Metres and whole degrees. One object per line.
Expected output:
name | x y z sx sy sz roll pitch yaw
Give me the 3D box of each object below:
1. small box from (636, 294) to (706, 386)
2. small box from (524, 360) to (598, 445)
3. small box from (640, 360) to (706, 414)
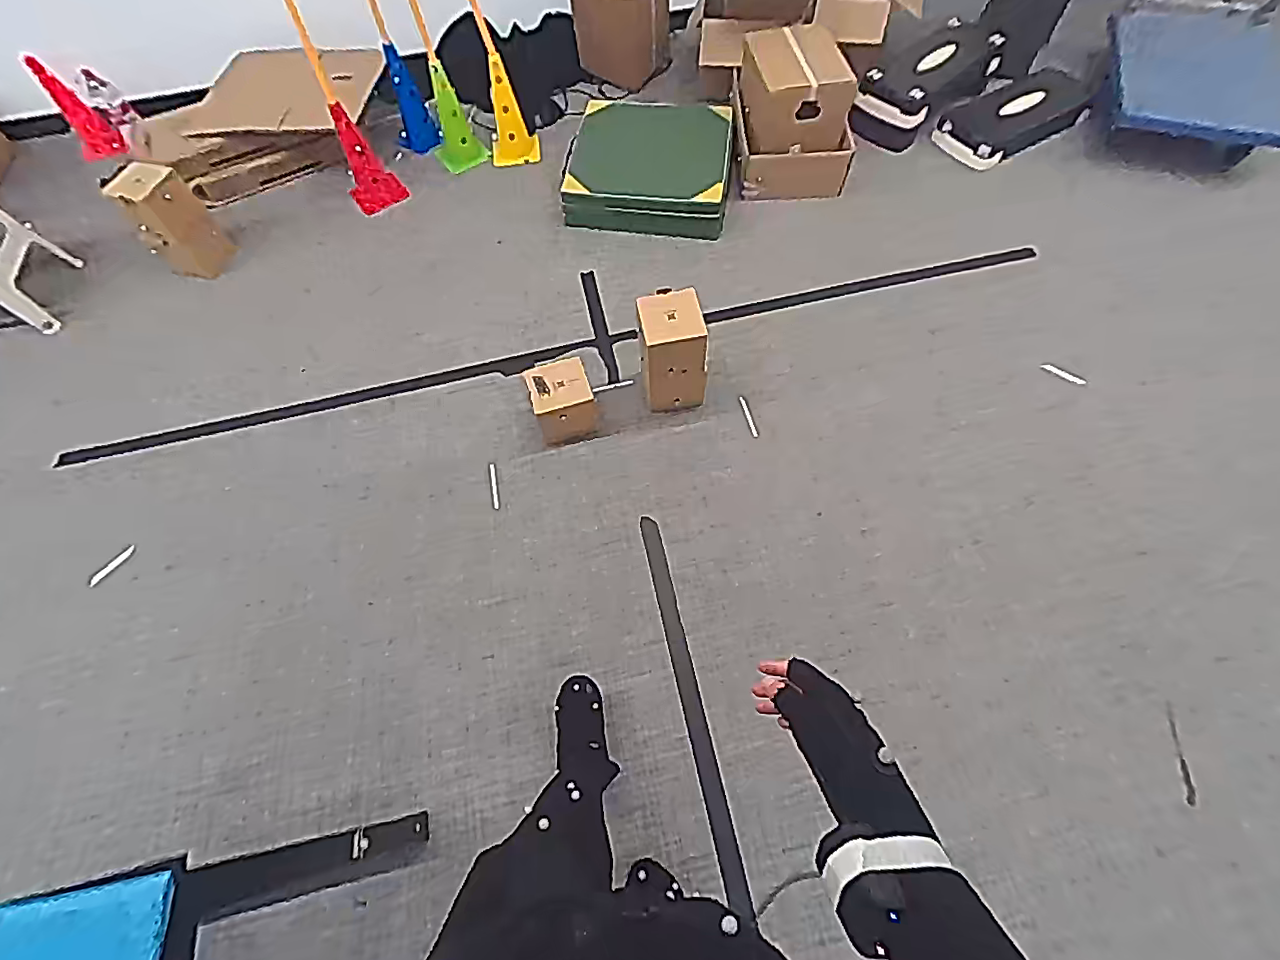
small box | 0.083 -0.393 1.529 0.168 0.176 0.179 -10 64 -2
small box | -0.235 -0.228 1.636 0.179 0.176 0.168 -17 64 -7
small box | 0.096 -0.324 1.676 0.179 0.176 0.168 -8 62 -4
